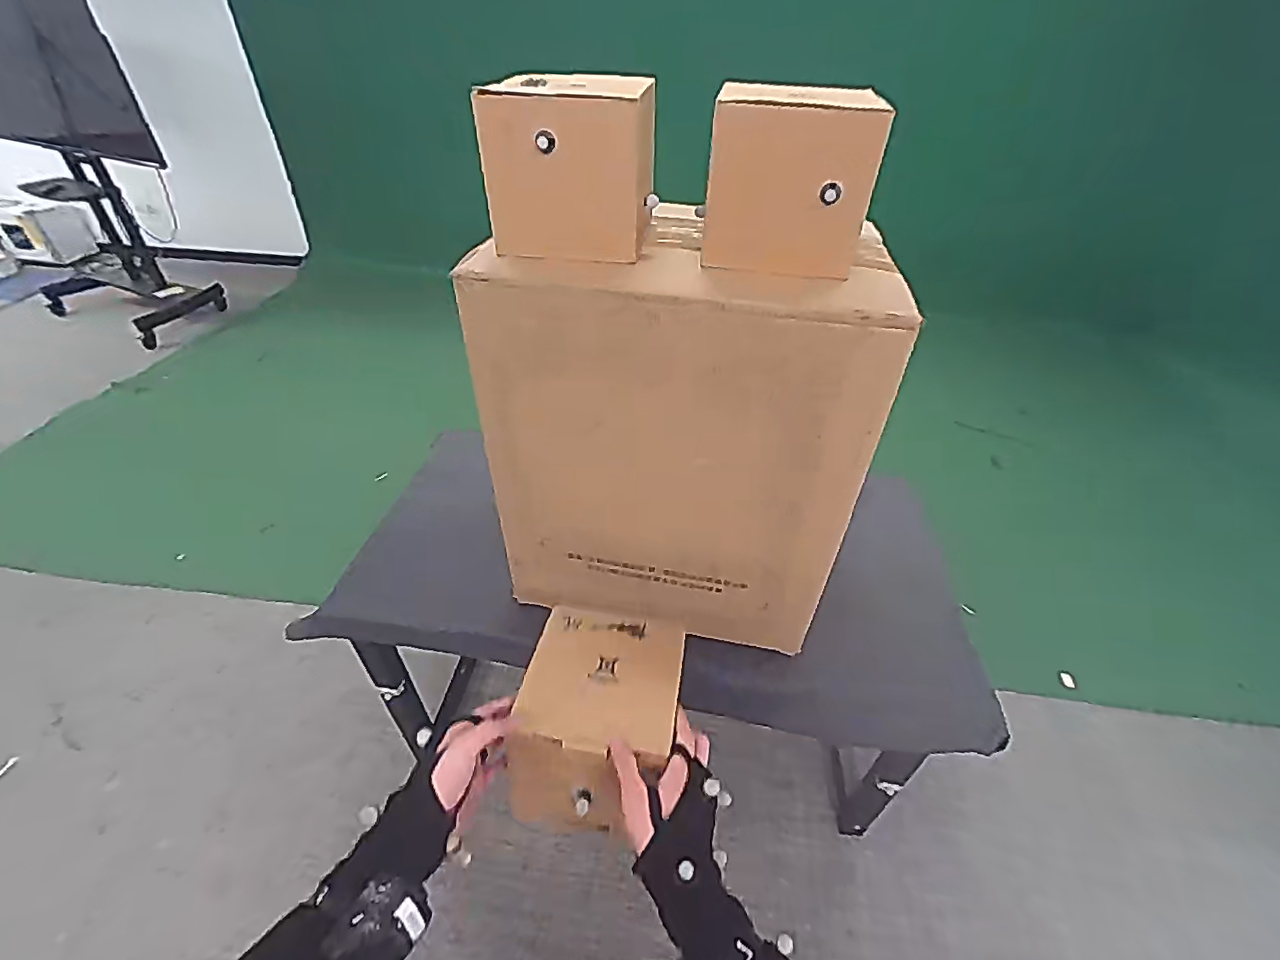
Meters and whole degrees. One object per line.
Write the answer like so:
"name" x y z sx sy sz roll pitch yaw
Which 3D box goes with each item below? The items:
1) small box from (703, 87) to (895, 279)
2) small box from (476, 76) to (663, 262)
"small box" 0.177 -0.354 0.647 0.179 0.176 0.168 8 41 8
"small box" -0.072 -0.384 0.669 0.179 0.176 0.168 8 45 9
